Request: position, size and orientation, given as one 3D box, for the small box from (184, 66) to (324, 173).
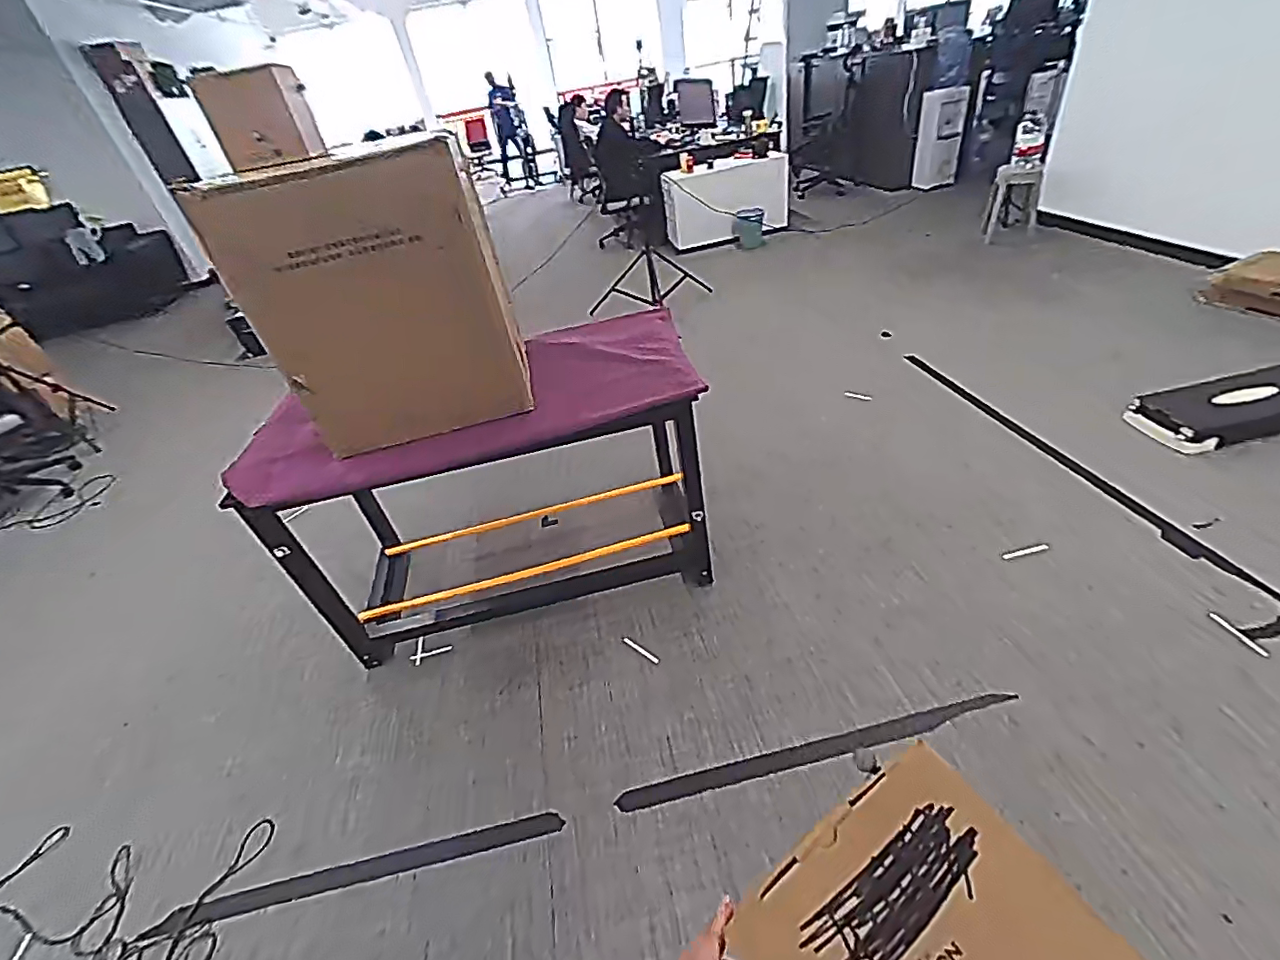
[{"bbox_3d":[-0.824,-0.783,1.179,0.168,0.176,0.179,-15,37,-5],"label":"small box"}]
